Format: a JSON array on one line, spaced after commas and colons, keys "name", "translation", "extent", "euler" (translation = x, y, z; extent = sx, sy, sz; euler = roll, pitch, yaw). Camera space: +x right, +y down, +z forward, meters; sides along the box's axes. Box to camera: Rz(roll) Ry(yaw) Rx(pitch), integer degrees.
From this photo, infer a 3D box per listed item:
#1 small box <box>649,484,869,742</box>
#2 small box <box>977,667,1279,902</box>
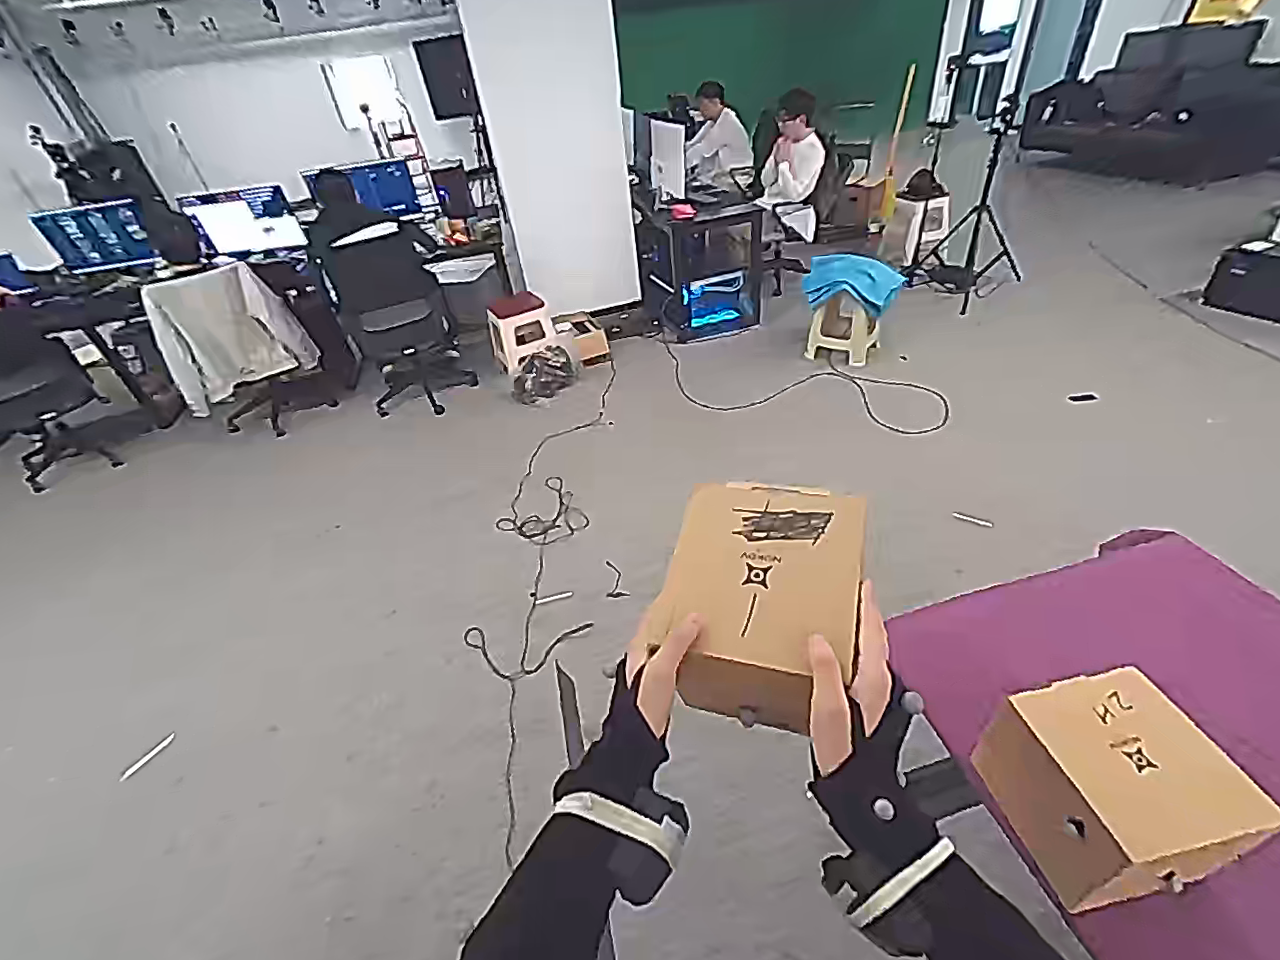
[{"name": "small box", "translation": [0.126, 0.127, 0.530], "extent": [0.168, 0.176, 0.179], "euler": [4, 53, 23]}, {"name": "small box", "translation": [0.533, 0.351, 0.619], "extent": [0.168, 0.176, 0.179], "euler": [-11, 38, -3]}]
